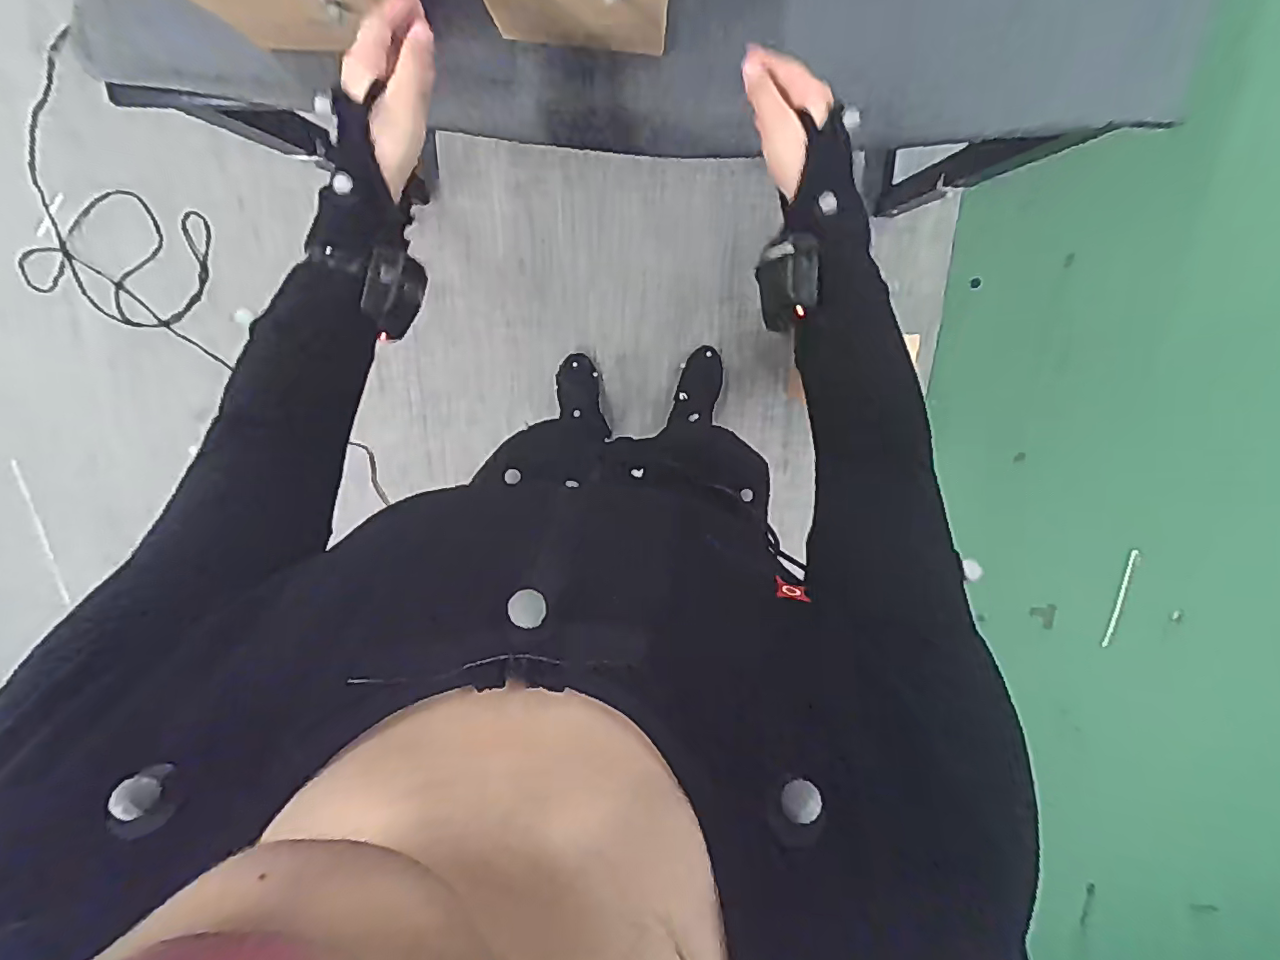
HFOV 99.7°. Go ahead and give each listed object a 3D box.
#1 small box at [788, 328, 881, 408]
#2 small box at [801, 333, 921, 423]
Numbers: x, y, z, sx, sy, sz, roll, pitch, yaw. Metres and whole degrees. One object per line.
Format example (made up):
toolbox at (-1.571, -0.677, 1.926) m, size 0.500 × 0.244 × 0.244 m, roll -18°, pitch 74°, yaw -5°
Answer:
small box at (0.462, -0.275, 1.311) m, size 0.168 × 0.176 × 0.179 m, roll 0°, pitch 107°, yaw 2°
small box at (0.461, -0.223, 1.154) m, size 0.179 × 0.176 × 0.168 m, roll 2°, pitch 109°, yaw 1°
